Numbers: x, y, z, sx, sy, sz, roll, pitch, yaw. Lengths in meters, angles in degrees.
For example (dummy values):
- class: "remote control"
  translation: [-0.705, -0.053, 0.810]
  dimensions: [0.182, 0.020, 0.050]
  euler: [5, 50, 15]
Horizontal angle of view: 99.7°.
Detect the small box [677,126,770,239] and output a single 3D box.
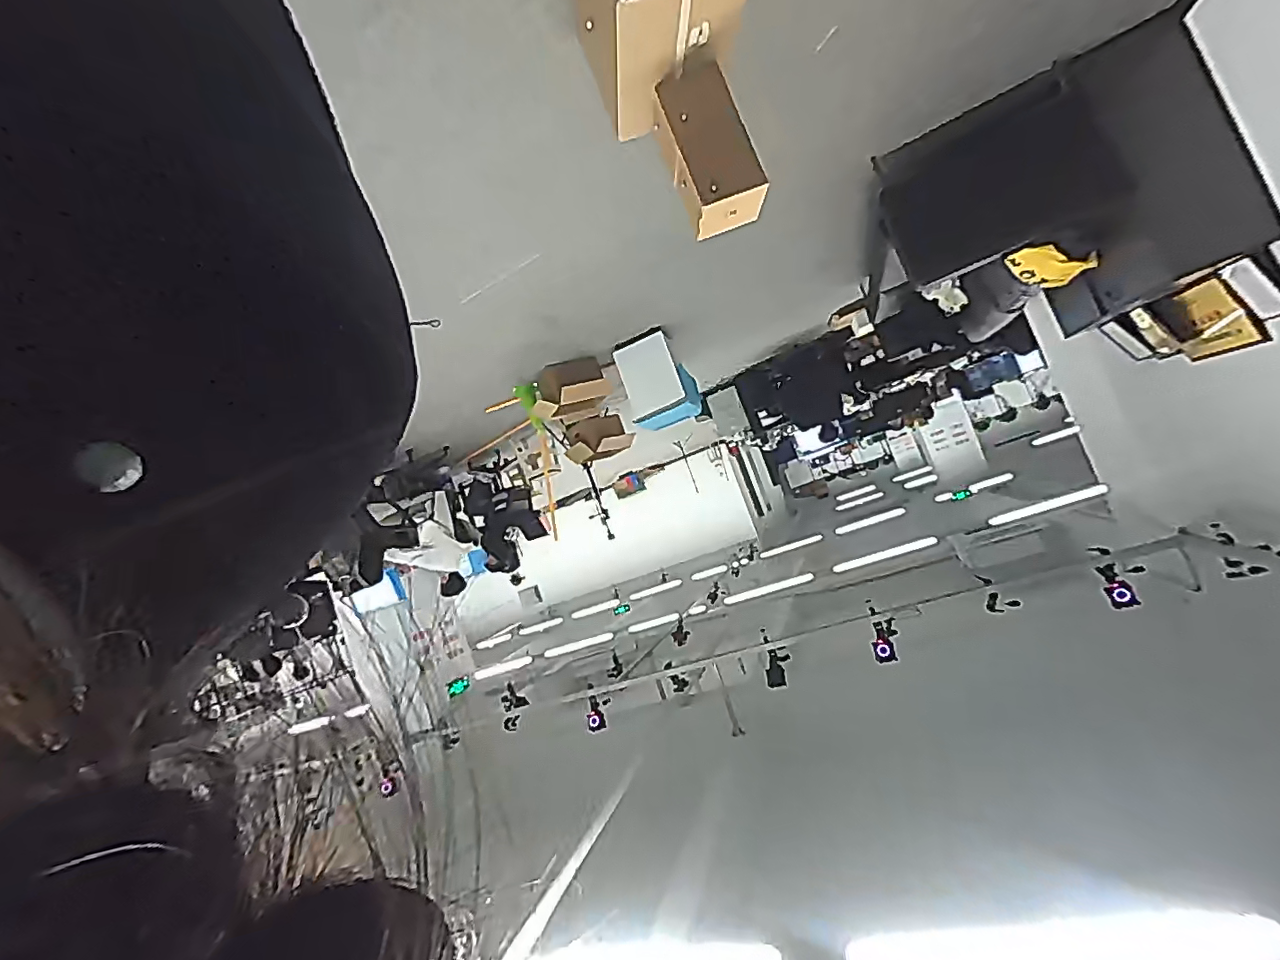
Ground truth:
- class: "small box"
  translation: [0.208, -0.766, 1.395]
  dimensions: [0.179, 0.176, 0.168]
  euler: [-20, 175, 0]
